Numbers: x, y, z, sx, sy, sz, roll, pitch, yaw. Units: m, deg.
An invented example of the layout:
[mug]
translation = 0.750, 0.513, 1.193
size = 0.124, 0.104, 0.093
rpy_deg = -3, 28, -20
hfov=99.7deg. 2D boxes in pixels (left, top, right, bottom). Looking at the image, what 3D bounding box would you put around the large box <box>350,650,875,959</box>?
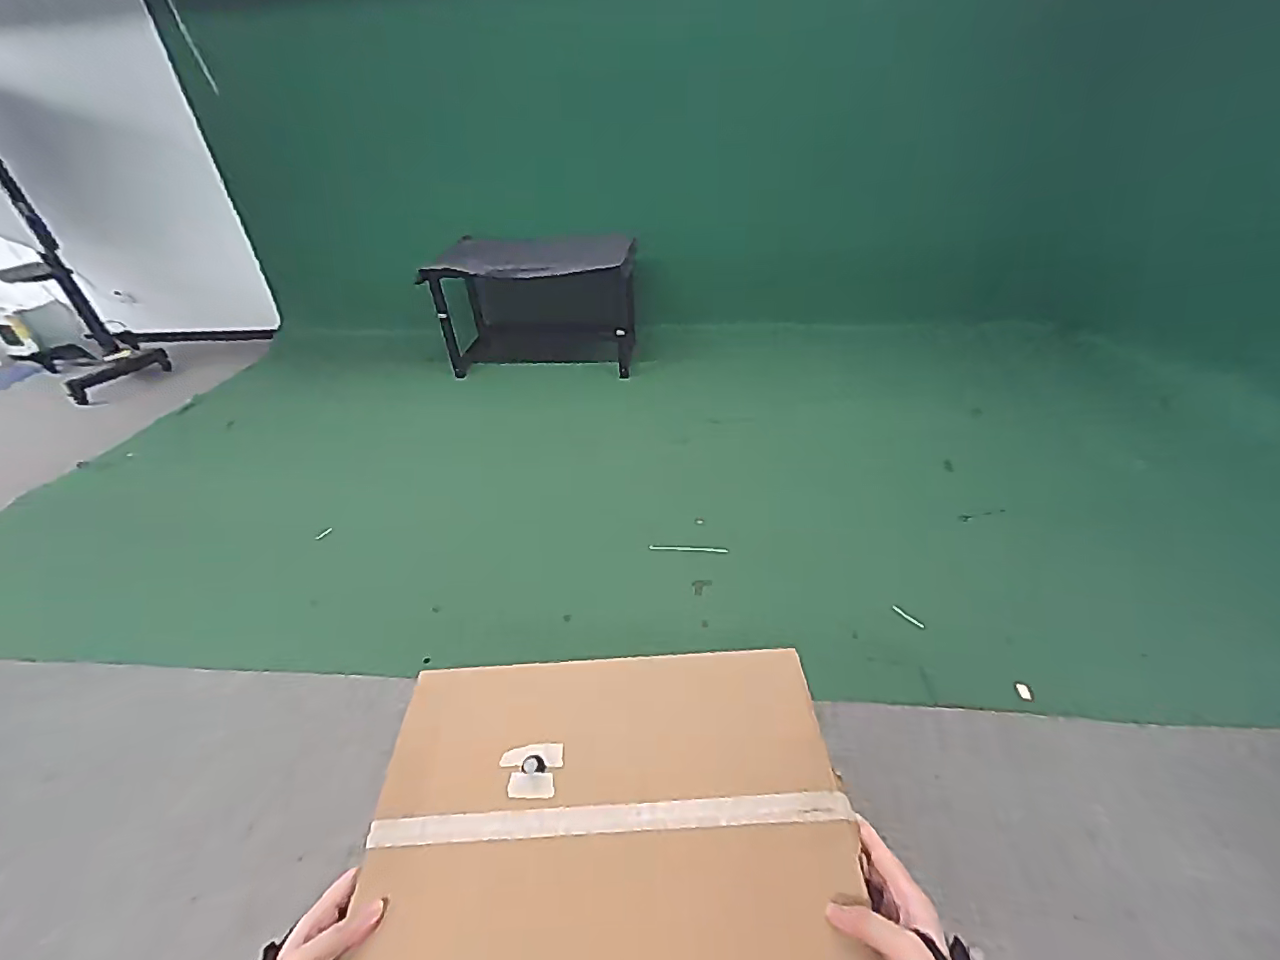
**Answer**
[large box]
translation = -0.015, 0.414, 0.570
size = 0.408, 0.320, 0.320
rpy_deg = -6, 39, 2
